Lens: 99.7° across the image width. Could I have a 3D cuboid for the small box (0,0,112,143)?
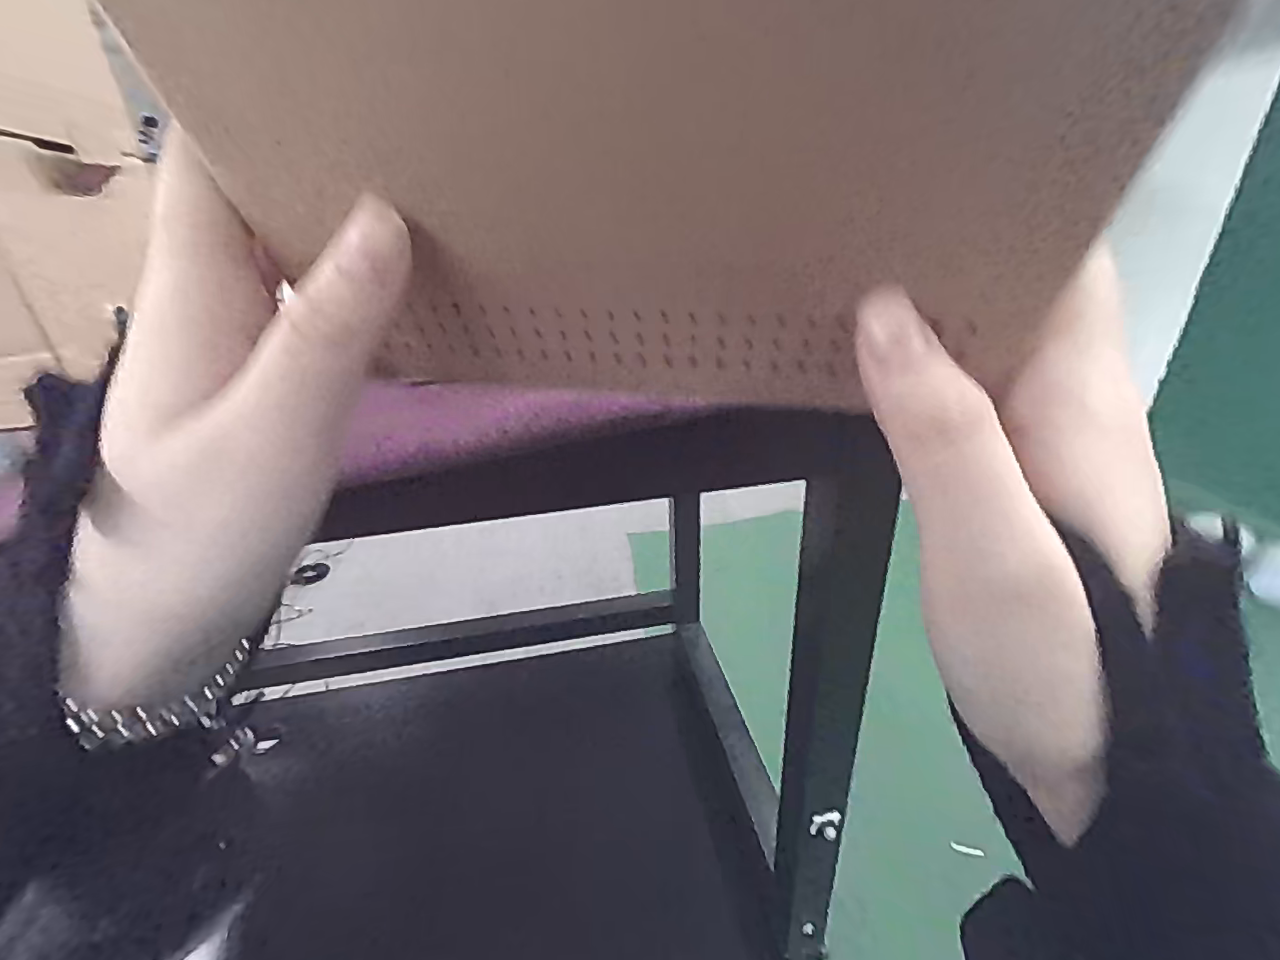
[{"bbox_3d":[-0.458,-0.284,0.295,0.168,0.176,0.179,-7,25,-11],"label":"small box"}]
